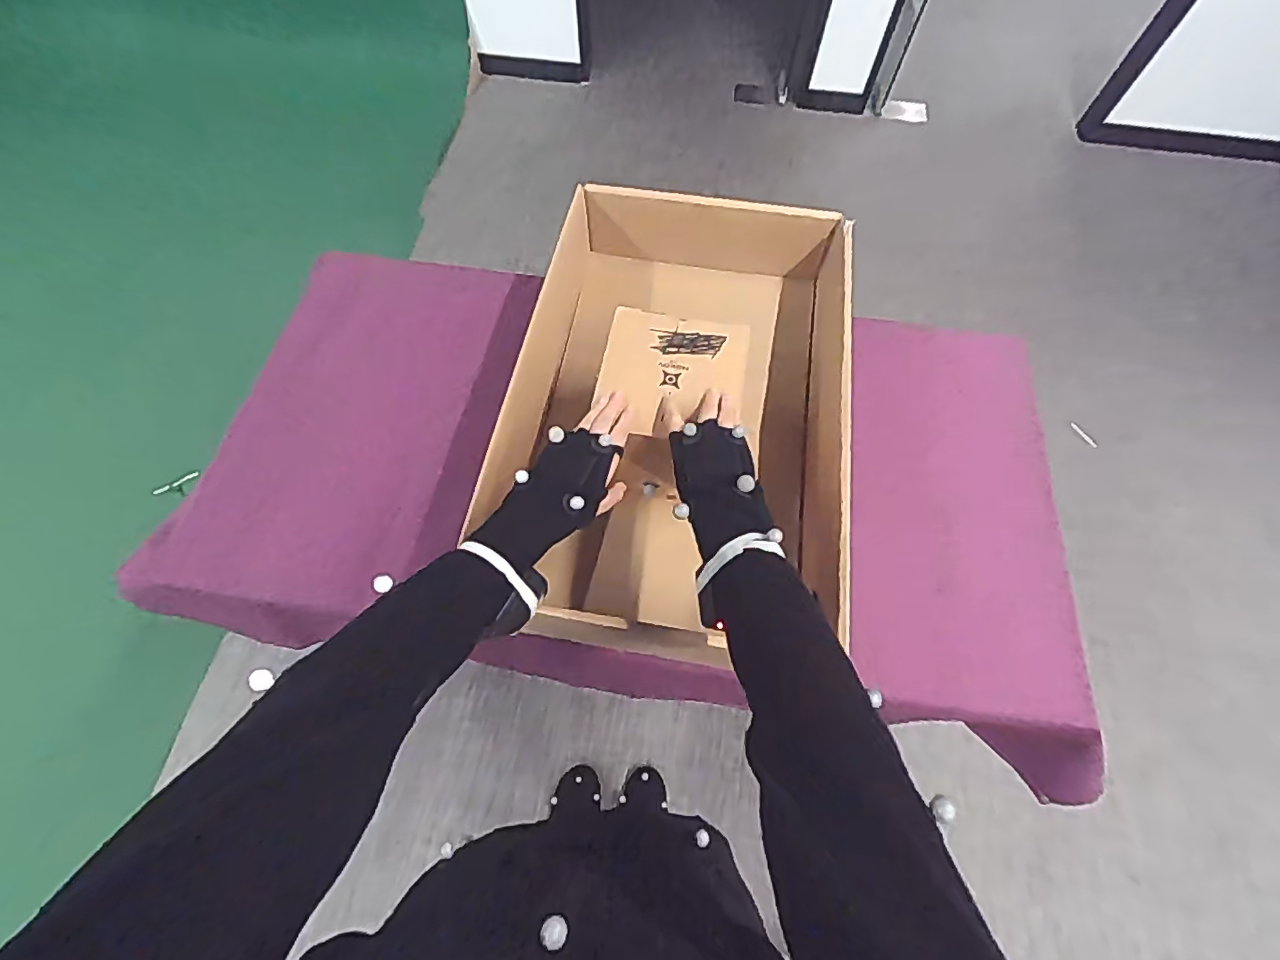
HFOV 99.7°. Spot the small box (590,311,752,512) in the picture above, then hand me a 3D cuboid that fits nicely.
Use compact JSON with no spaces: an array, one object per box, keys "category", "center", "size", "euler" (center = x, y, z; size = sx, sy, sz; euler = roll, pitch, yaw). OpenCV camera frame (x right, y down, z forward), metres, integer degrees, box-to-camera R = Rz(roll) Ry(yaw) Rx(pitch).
[{"category":"small box","center":[0.038,-0.080,0.686],"size":[0.168,0.176,0.179],"euler":[10,65,4]}]
